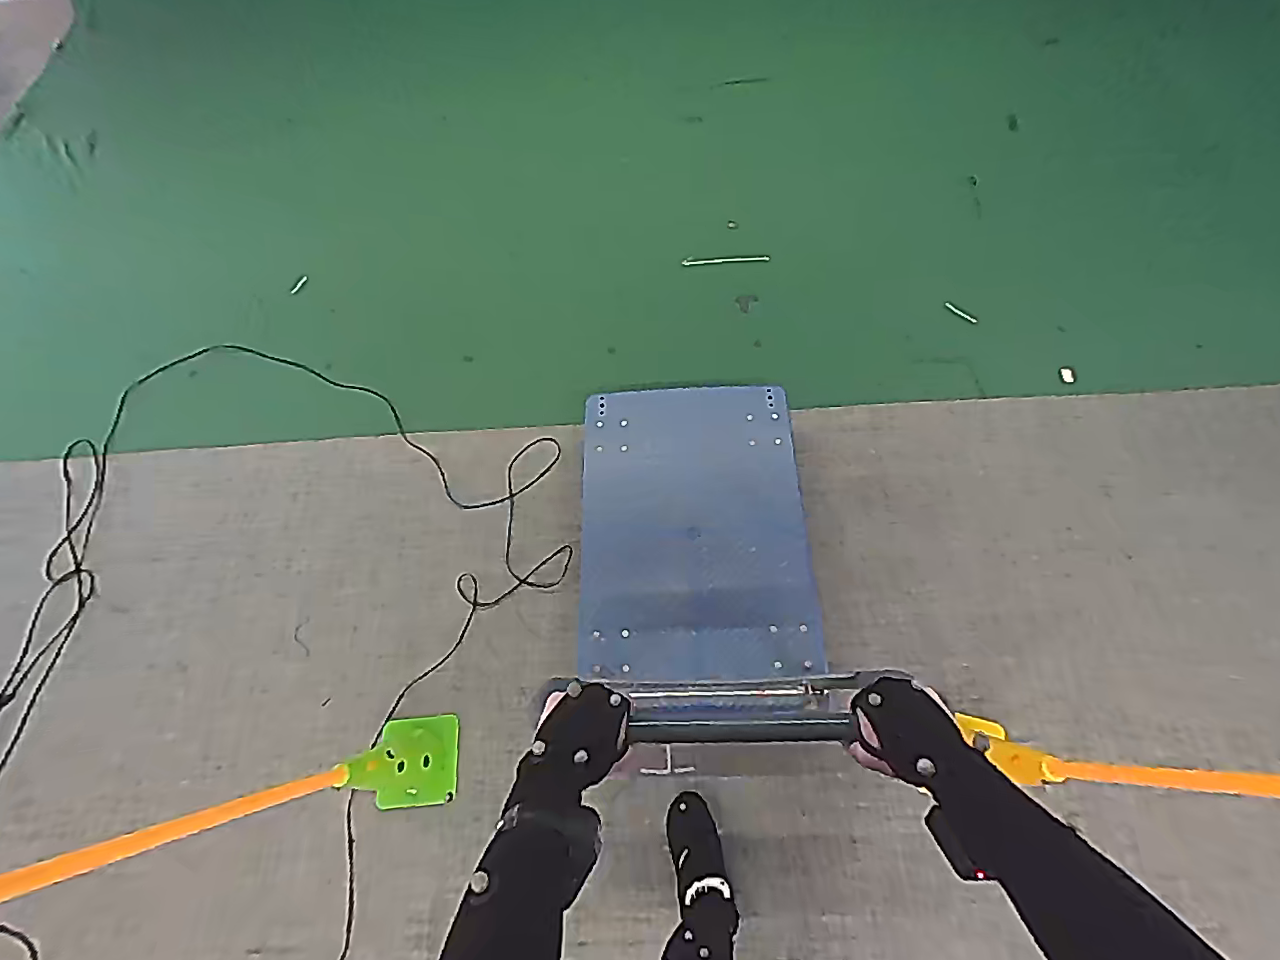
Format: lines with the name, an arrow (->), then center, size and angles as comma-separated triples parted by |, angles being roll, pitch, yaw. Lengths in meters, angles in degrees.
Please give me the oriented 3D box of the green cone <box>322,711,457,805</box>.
green cone -> -0.577, 0.632, 1.211 | 0.202, 0.368, 0.200 | -8, 66, 3
